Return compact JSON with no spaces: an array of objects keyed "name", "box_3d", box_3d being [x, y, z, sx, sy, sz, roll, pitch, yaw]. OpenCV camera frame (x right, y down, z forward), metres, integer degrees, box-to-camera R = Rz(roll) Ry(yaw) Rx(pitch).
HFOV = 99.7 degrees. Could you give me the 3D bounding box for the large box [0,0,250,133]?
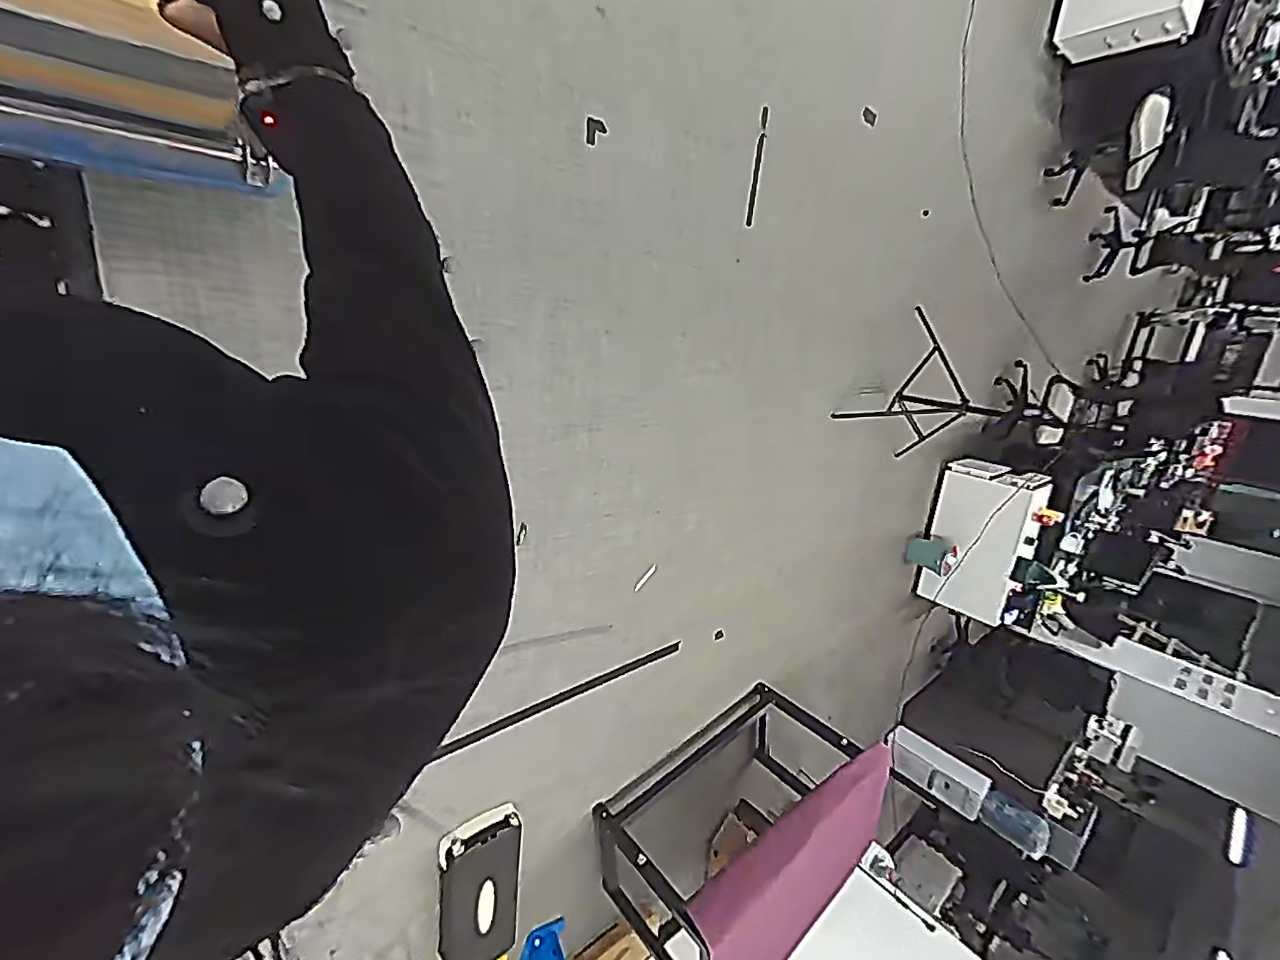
[{"name":"large box","box_3d":[-0.762,-0.682,0.665,0.408,0.320,0.320,-9,111,-40]}]
